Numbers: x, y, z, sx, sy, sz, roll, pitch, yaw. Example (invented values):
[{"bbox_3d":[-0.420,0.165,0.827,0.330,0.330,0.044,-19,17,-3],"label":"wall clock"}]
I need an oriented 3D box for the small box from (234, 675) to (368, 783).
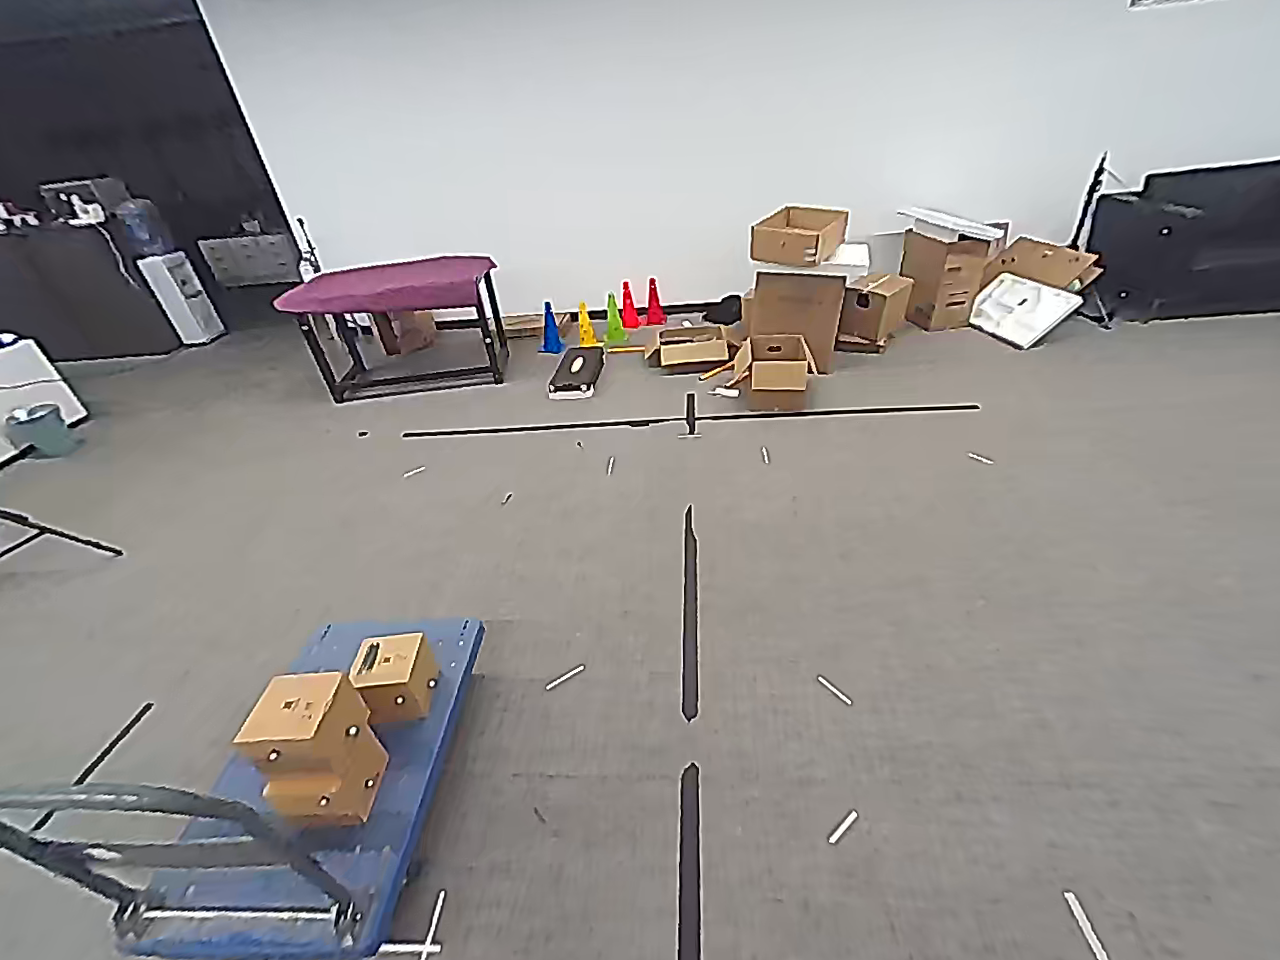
[{"bbox_3d":[-0.767,0.575,1.245,0.179,0.176,0.168,-4,34,2],"label":"small box"}]

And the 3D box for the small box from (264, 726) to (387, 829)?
[{"bbox_3d":[-0.753,0.725,1.316,0.179,0.176,0.168,-5,34,1],"label":"small box"}]
